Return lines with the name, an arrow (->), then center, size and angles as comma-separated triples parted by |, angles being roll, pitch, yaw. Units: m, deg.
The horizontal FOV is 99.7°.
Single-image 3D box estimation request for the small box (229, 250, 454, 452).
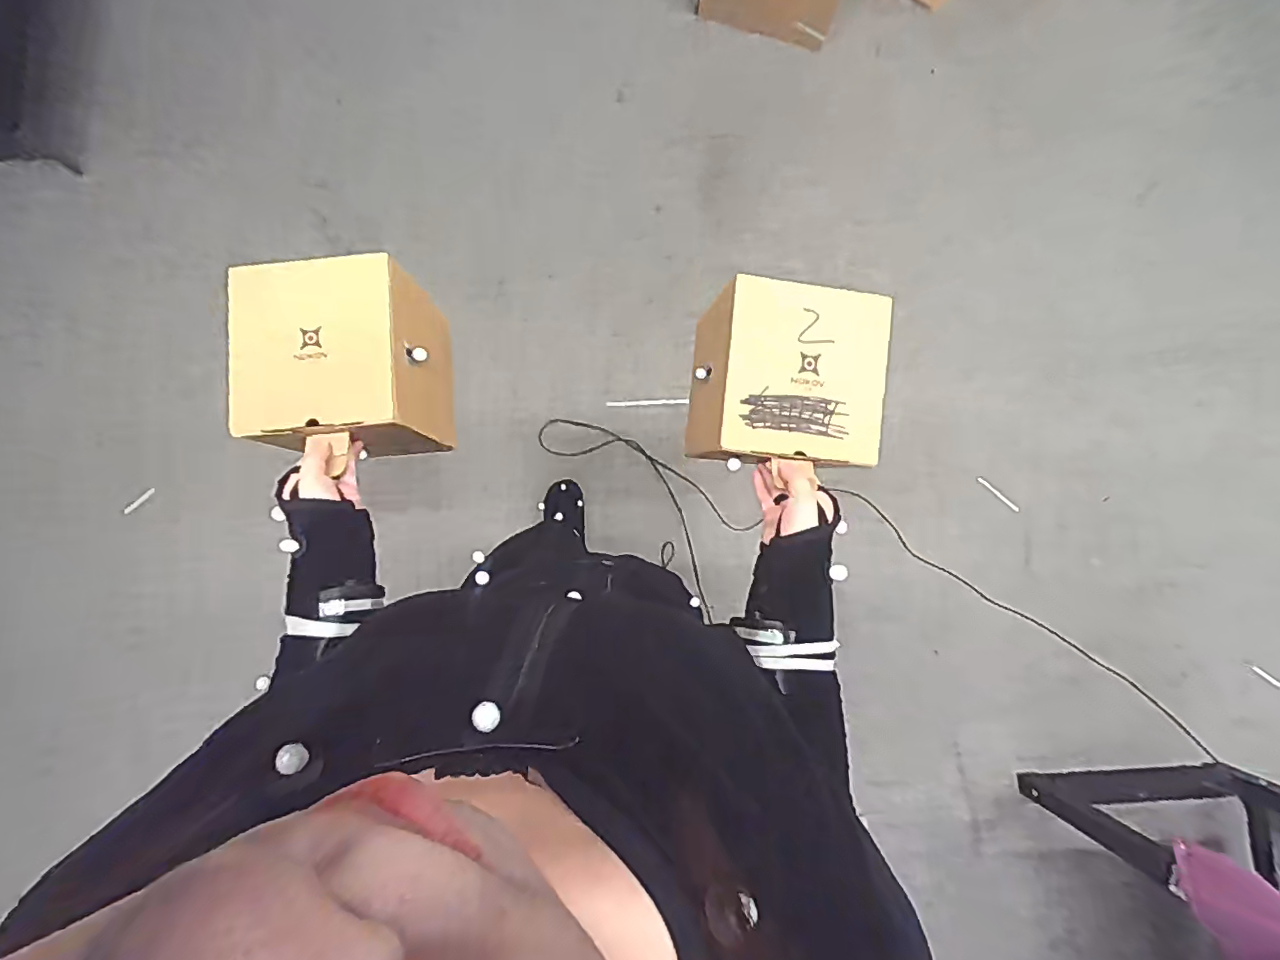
small box -> -0.320, -0.133, 0.612 | 0.168, 0.176, 0.179 | -4, 85, 1
